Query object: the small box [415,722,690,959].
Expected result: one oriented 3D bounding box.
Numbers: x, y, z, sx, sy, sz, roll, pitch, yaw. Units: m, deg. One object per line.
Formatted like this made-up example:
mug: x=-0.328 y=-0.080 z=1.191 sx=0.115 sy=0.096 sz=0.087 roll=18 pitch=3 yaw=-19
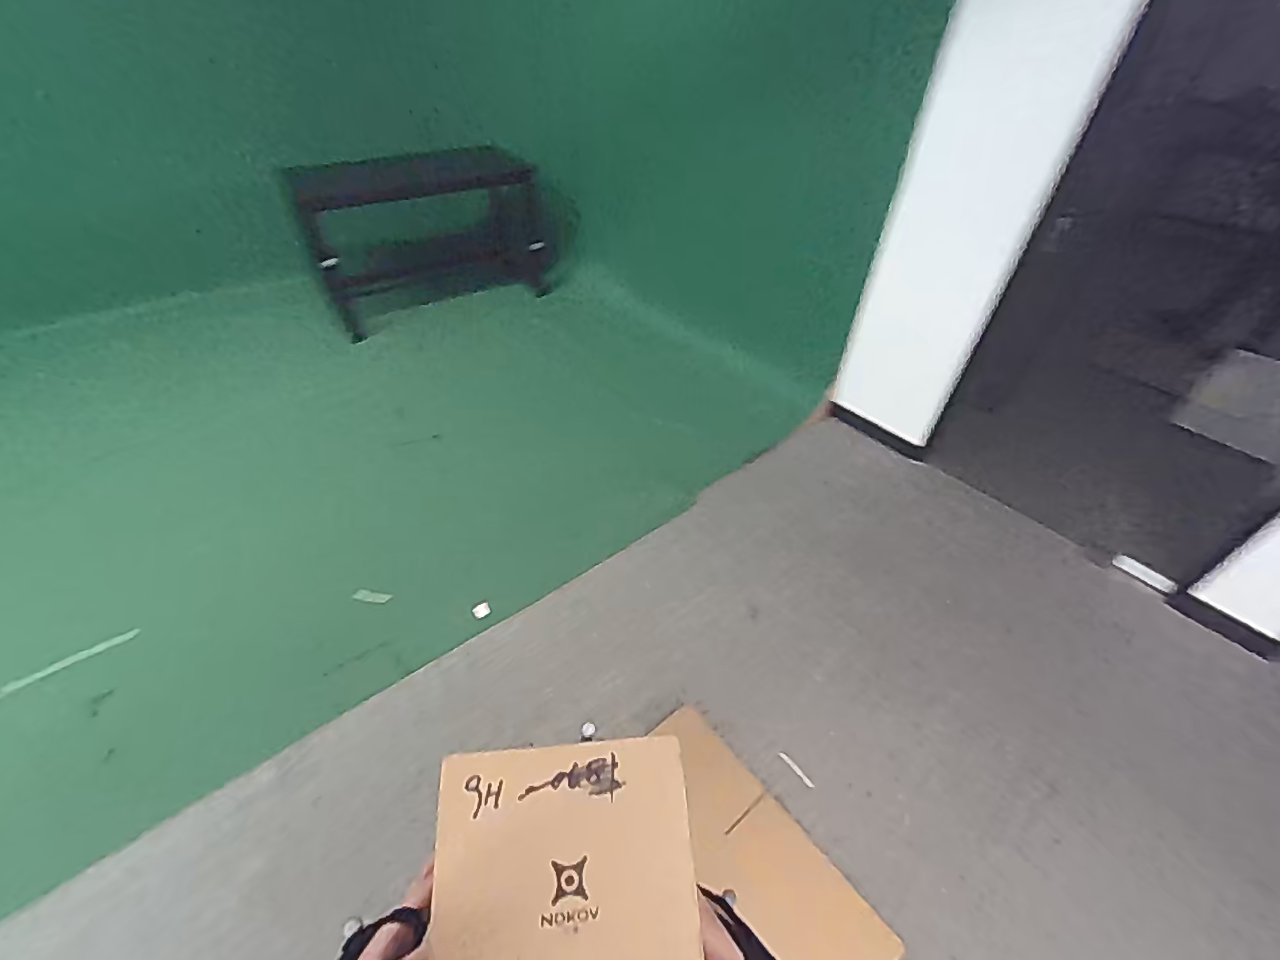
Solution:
small box: x=-0.065 y=0.286 z=0.409 sx=0.168 sy=0.176 sz=0.179 roll=-1 pitch=63 yaw=-11
